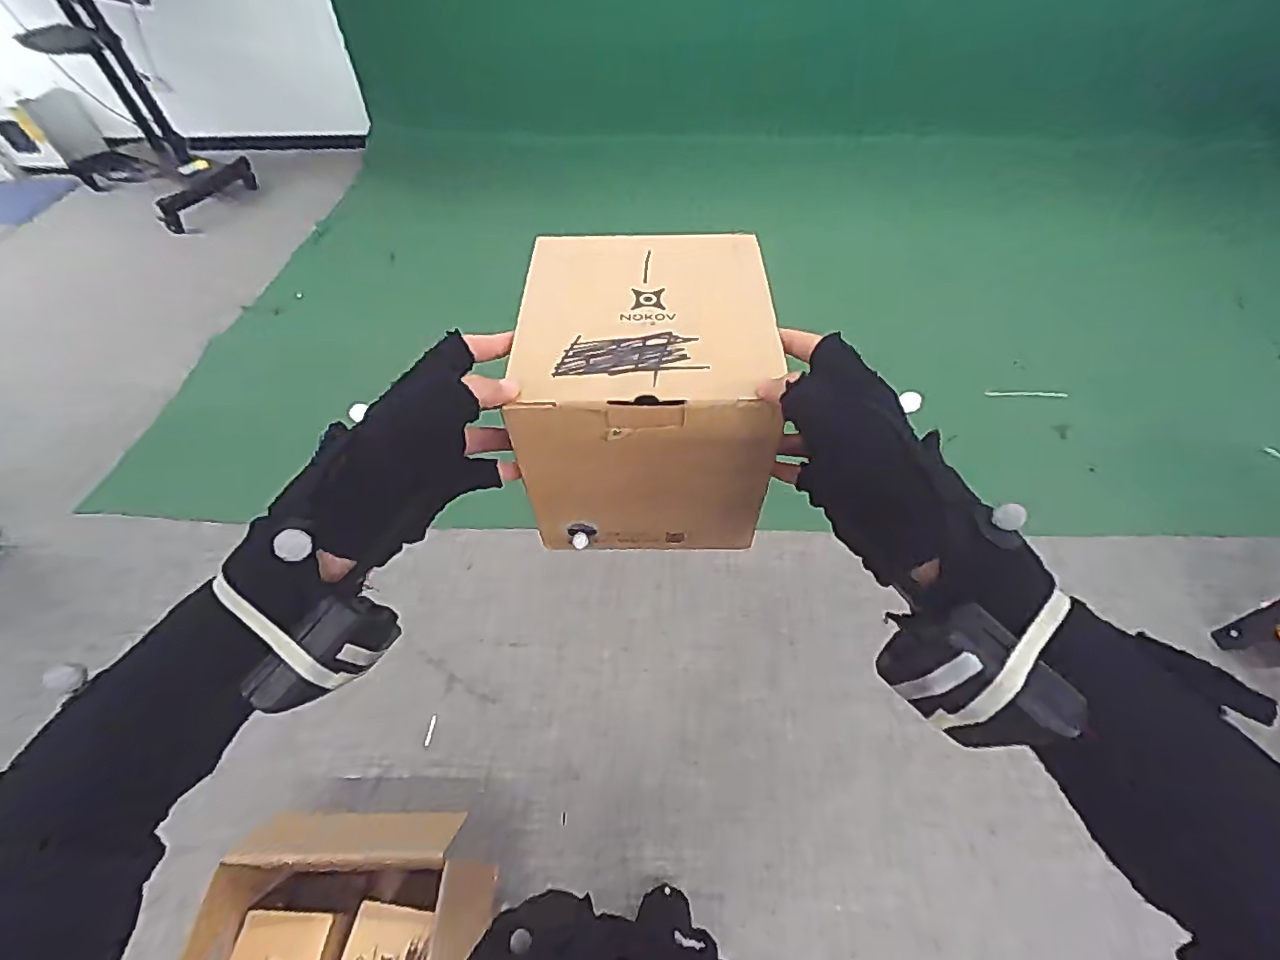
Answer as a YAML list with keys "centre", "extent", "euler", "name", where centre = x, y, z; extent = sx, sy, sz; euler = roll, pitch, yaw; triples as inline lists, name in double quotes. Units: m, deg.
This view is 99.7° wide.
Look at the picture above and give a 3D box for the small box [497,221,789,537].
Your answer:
- centre: [0.005, -0.068, 0.408]
  extent: [0.168, 0.176, 0.179]
  euler: [0, 53, 1]
  name: "small box"
